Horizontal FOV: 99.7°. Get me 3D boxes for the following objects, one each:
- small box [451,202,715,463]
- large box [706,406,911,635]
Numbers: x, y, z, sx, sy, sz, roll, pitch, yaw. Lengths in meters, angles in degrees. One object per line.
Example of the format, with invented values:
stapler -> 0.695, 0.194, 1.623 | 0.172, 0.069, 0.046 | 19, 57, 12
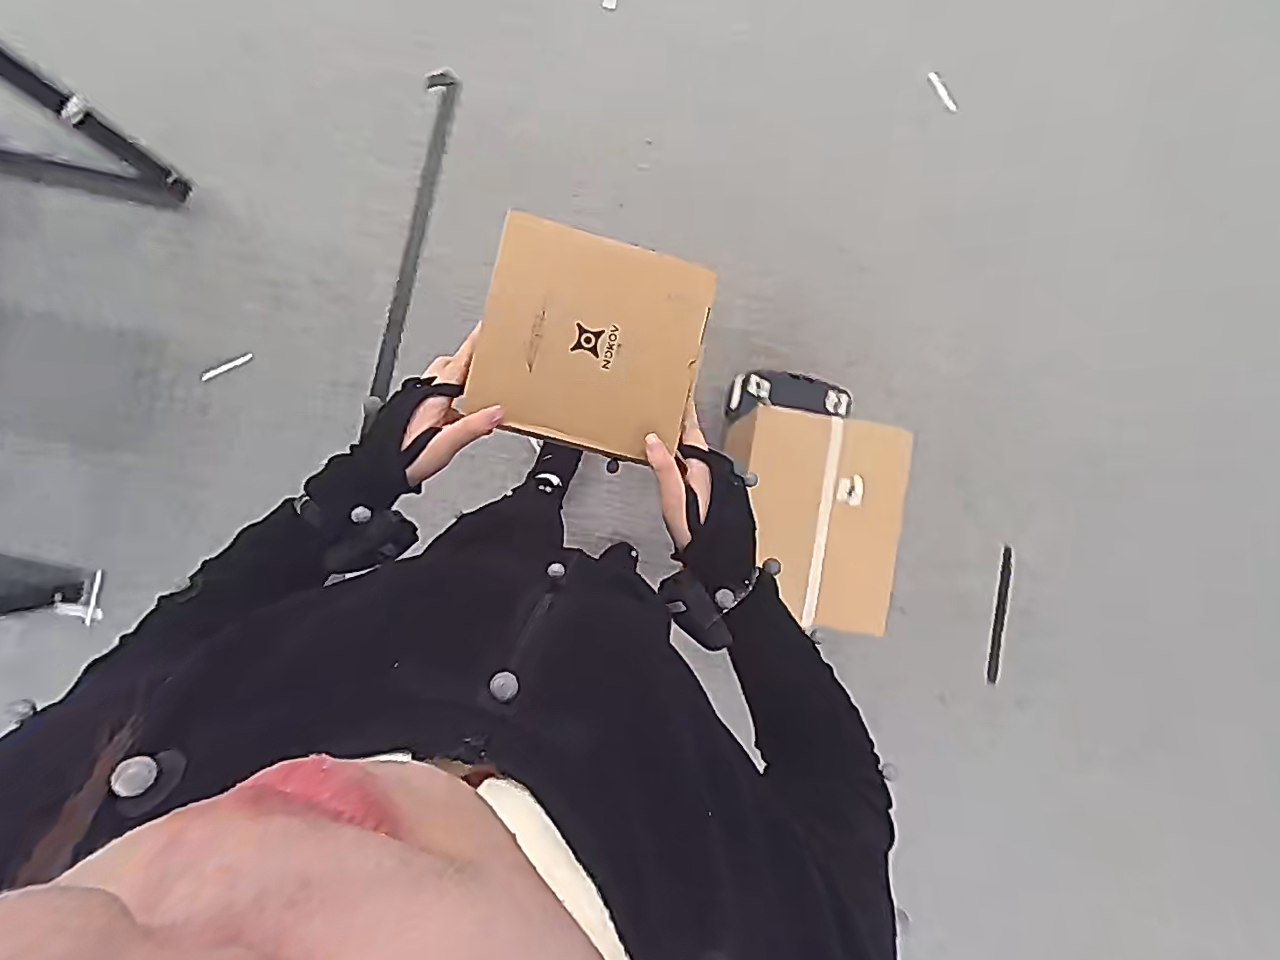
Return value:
small box -> -0.051, -0.116, 0.498 | 0.179, 0.176, 0.168 | 13, 90, -6
large box -> 0.340, 0.087, 1.178 | 0.320, 0.320, 0.408 | 10, 86, -2
